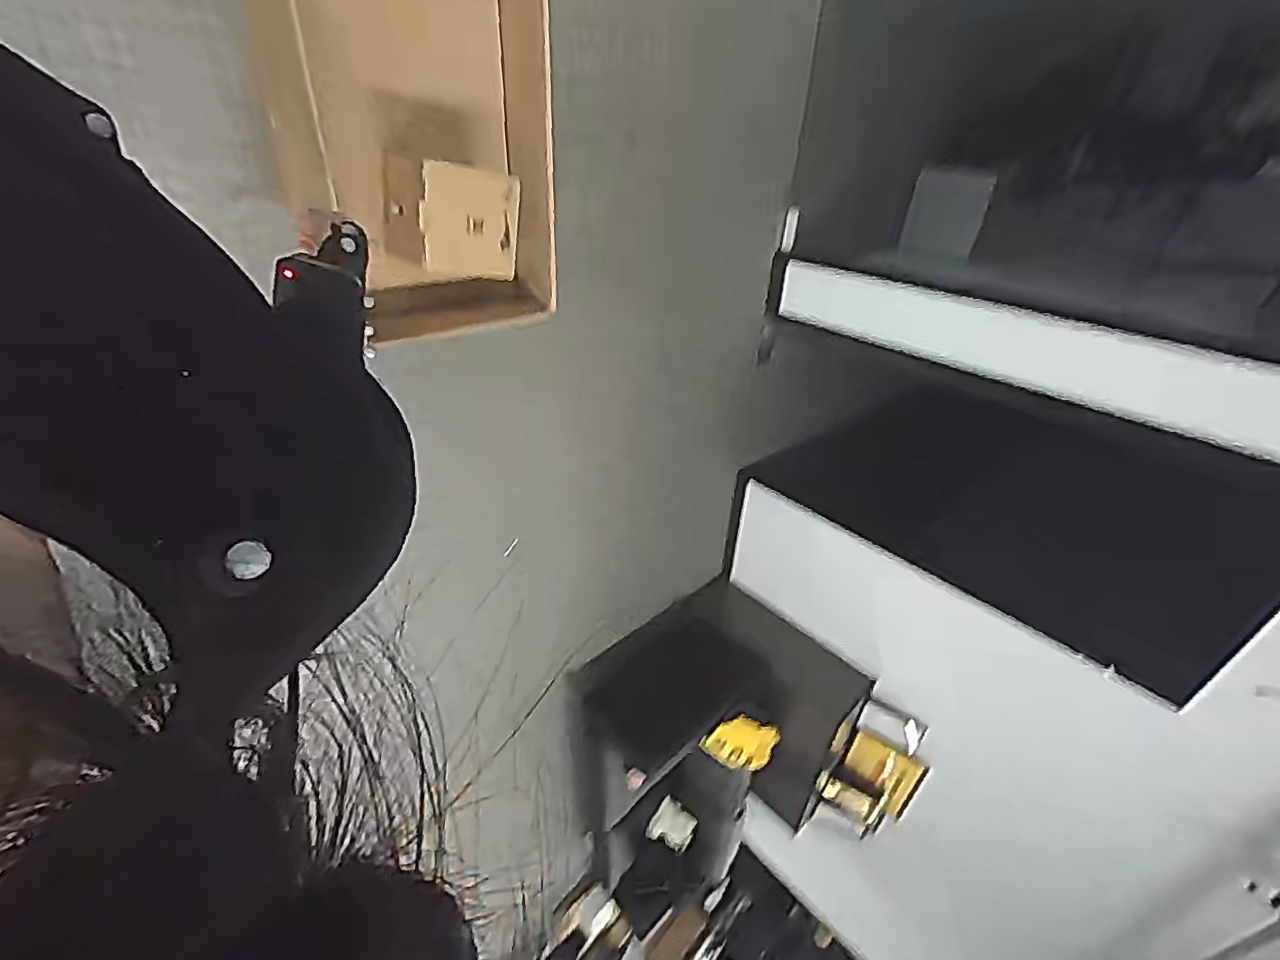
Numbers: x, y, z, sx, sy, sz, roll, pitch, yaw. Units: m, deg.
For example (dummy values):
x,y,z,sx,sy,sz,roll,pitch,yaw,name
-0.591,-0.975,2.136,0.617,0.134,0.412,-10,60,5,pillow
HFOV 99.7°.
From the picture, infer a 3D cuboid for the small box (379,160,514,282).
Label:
x,y,z,sx,sy,sz,roll,pitch,yaw,name
-0.350,-0.460,0.965,0.179,0.176,0.168,-13,124,-43,small box
